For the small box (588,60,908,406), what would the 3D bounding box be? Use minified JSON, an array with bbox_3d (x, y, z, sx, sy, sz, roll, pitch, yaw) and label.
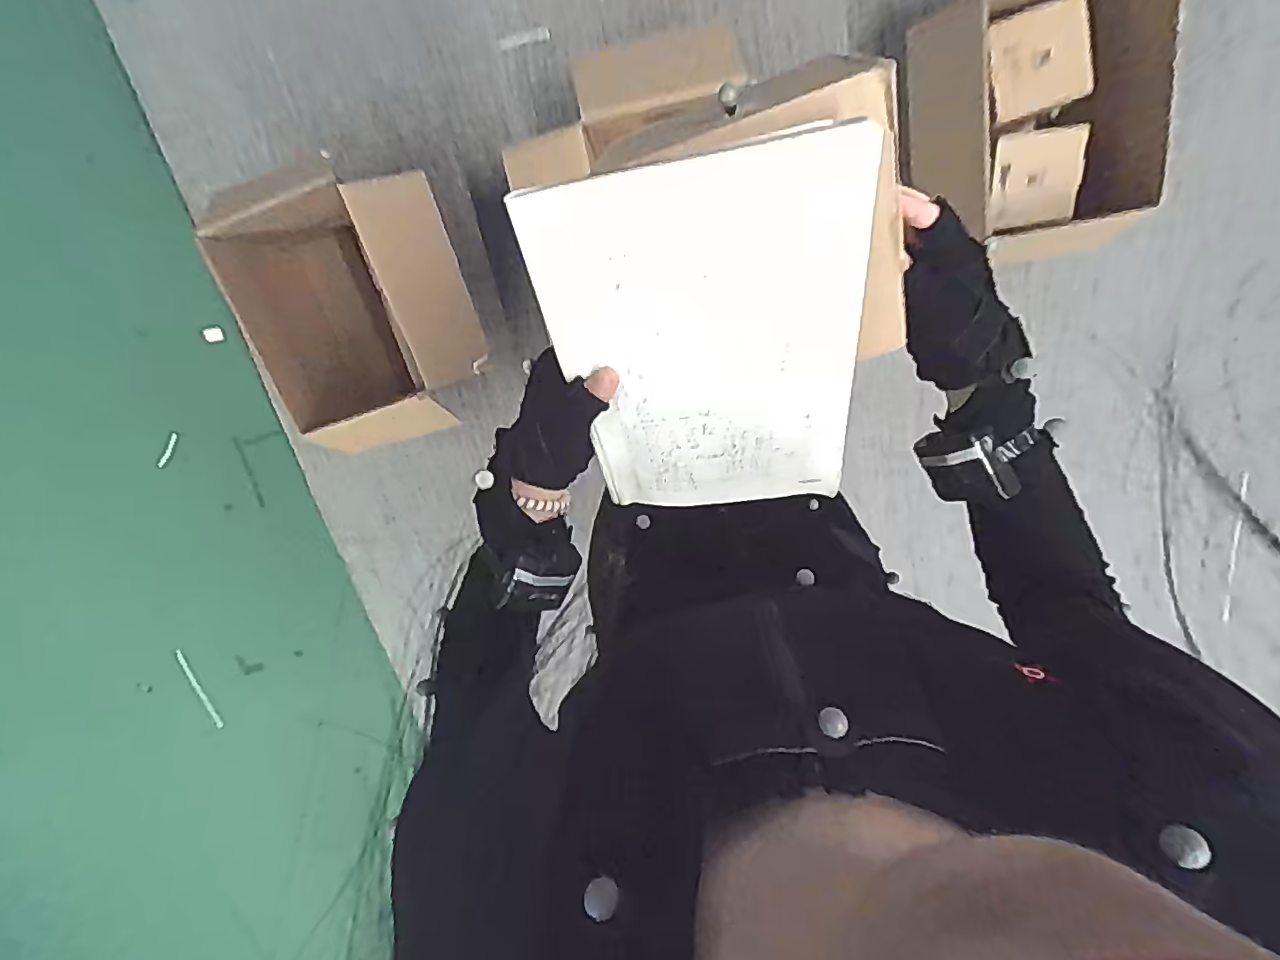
[{"bbox_3d":[0.078,-0.183,0.398,0.179,0.176,0.168,-11,127,14],"label":"small box"}]
